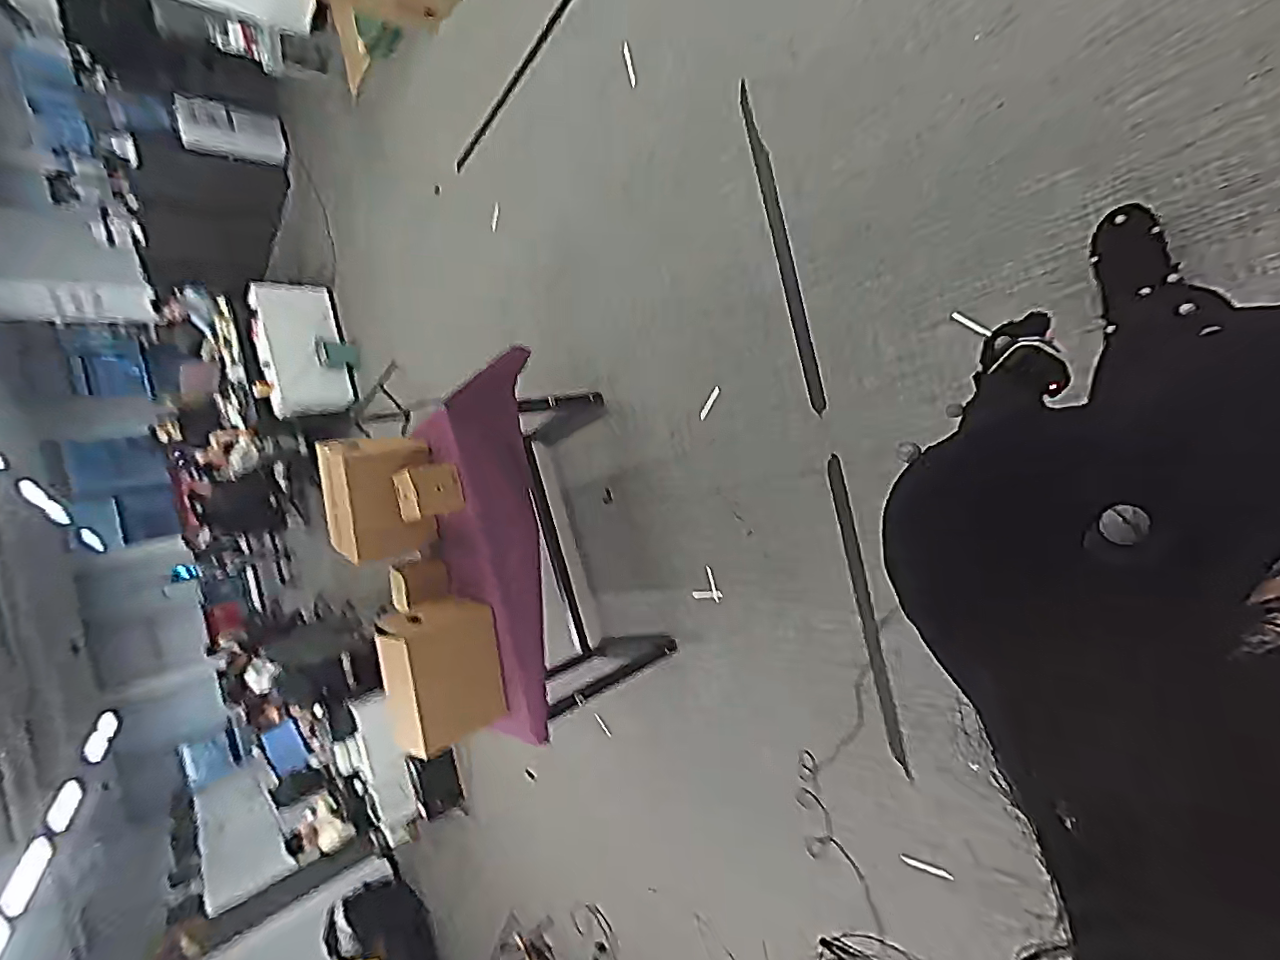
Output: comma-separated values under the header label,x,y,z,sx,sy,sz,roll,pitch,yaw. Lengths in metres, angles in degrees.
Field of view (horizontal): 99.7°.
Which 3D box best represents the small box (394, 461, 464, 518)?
label,x,y,z,sx,sy,sz,roll,pitch,yaw
small box,-0.740,0.032,1.911,0.179,0.176,0.168,-11,92,48
